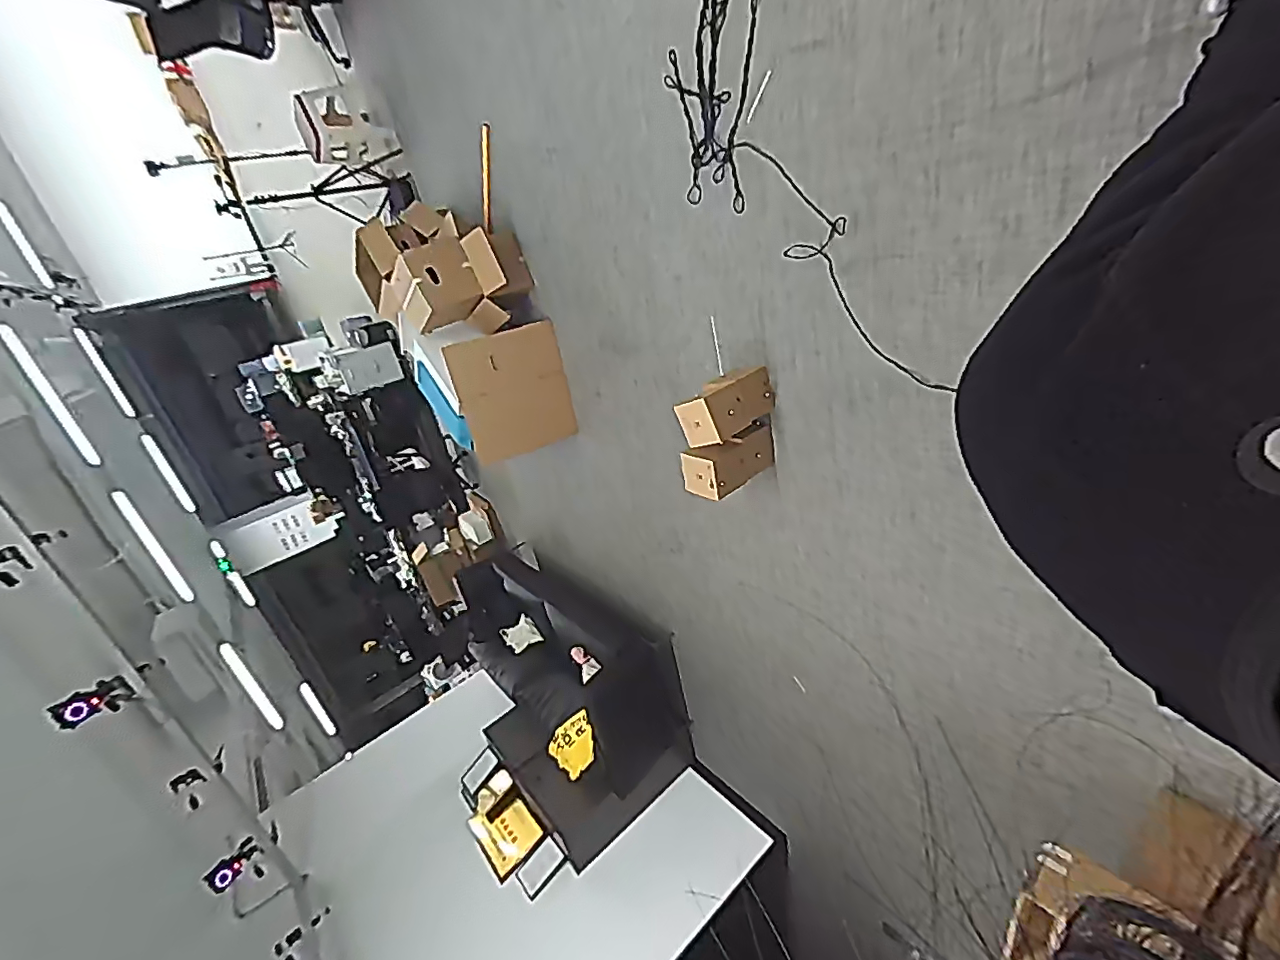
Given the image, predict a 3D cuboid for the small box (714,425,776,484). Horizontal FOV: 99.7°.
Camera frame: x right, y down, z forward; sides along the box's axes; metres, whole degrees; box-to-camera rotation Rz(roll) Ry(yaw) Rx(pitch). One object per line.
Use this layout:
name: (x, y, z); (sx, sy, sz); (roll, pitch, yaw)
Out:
small box: (0.412, -0.111, 2.116); (0.168, 0.176, 0.179); (19, 131, 50)

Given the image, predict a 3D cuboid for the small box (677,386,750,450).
small box: (0.268, -0.220, 1.922); (0.179, 0.176, 0.168); (-7, 109, 58)
